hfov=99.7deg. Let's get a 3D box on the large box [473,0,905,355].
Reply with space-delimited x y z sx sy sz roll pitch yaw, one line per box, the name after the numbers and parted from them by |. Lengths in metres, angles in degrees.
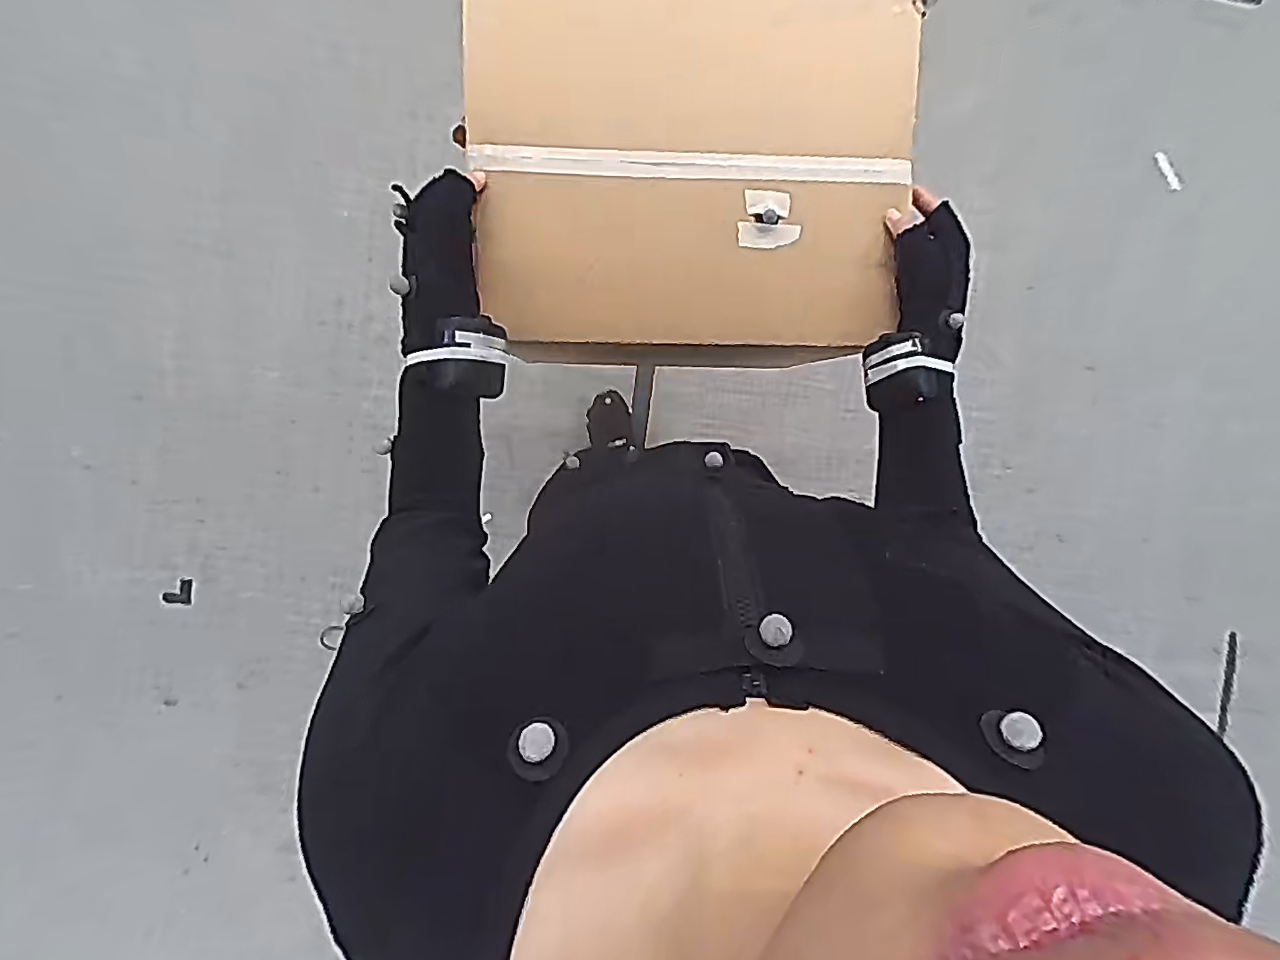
0.037 -0.323 0.655 0.408 0.320 0.320 0 99 -5 | large box
